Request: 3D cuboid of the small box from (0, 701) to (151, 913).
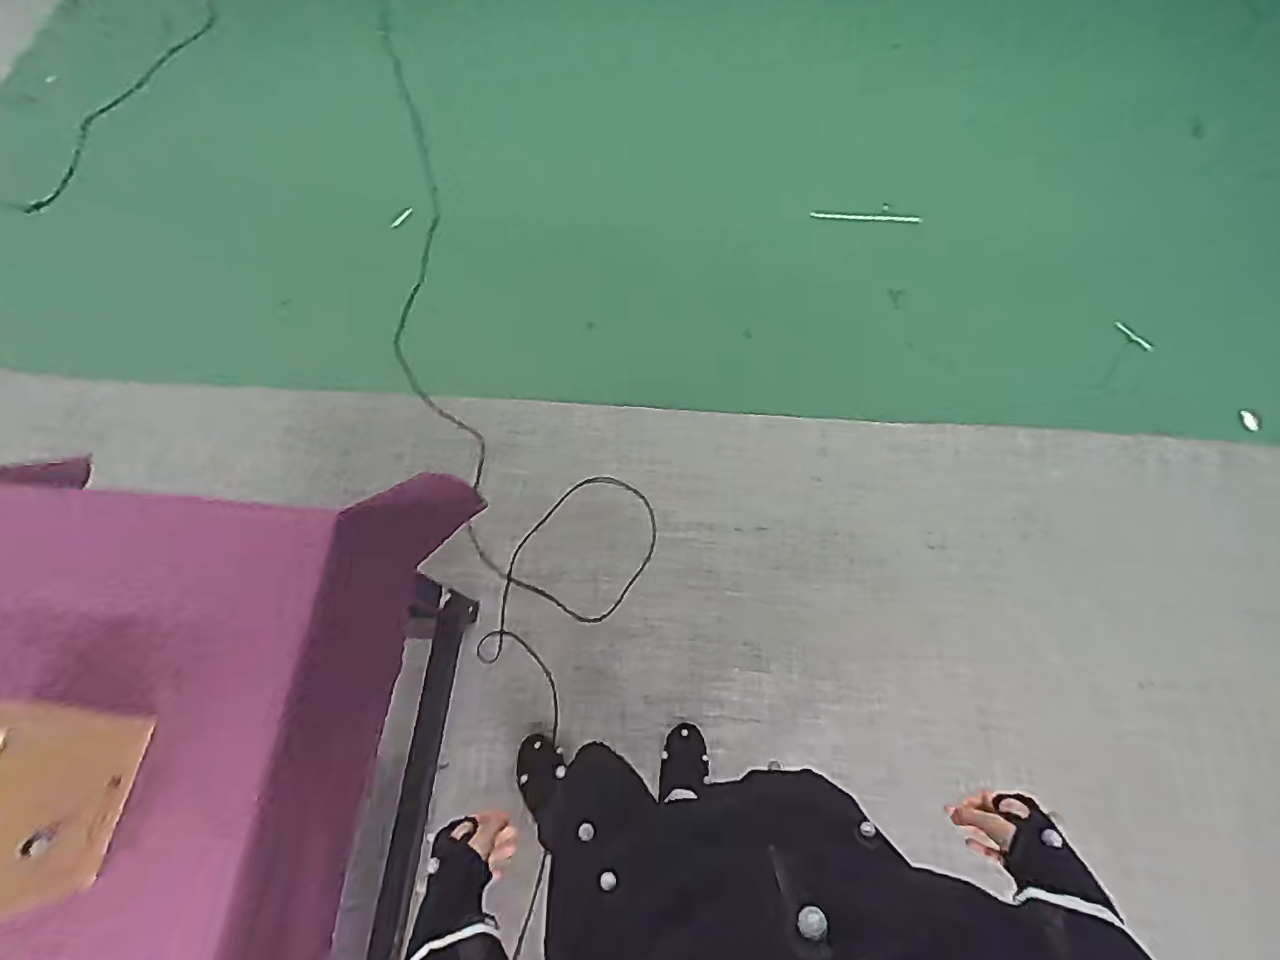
[{"bbox_3d":[-0.658,0.319,0.537,0.179,0.176,0.168,5,69,3],"label":"small box"}]
